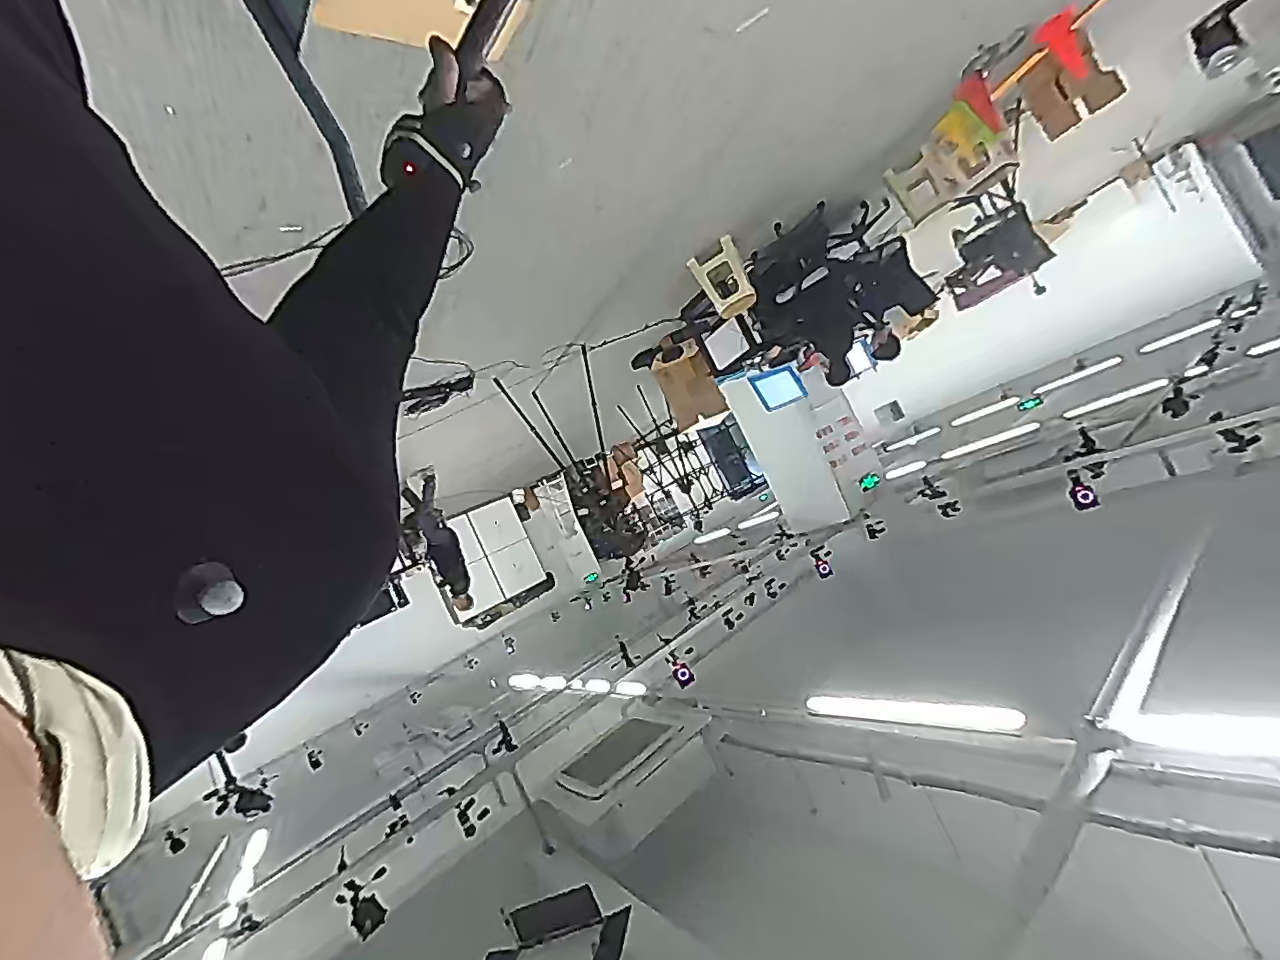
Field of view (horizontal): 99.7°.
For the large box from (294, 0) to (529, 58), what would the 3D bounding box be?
[{"bbox_3d":[-0.389,-0.958,0.851,0.320,0.320,0.408,-28,-173,43],"label":"large box"}]
